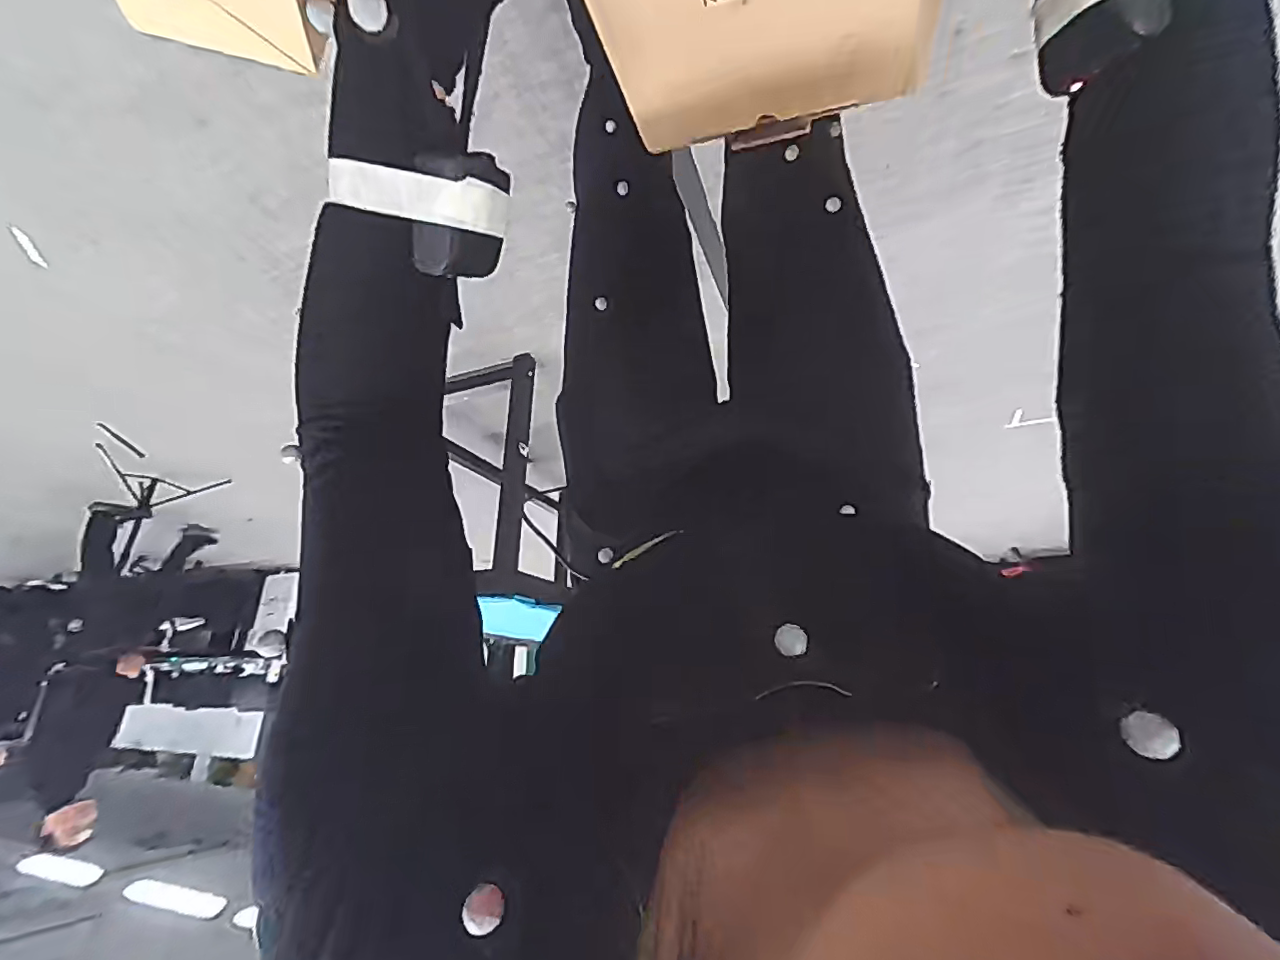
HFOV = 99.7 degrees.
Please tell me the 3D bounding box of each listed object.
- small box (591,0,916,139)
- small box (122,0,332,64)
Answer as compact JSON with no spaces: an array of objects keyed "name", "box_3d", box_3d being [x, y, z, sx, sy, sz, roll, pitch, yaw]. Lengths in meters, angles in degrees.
[{"name":"small box","box_3d":[0.068,-0.333,0.294,0.168,0.176,0.179,8,158,27]},{"name":"small box","box_3d":[-0.421,-0.565,0.539,0.179,0.176,0.168,6,158,-13]}]
